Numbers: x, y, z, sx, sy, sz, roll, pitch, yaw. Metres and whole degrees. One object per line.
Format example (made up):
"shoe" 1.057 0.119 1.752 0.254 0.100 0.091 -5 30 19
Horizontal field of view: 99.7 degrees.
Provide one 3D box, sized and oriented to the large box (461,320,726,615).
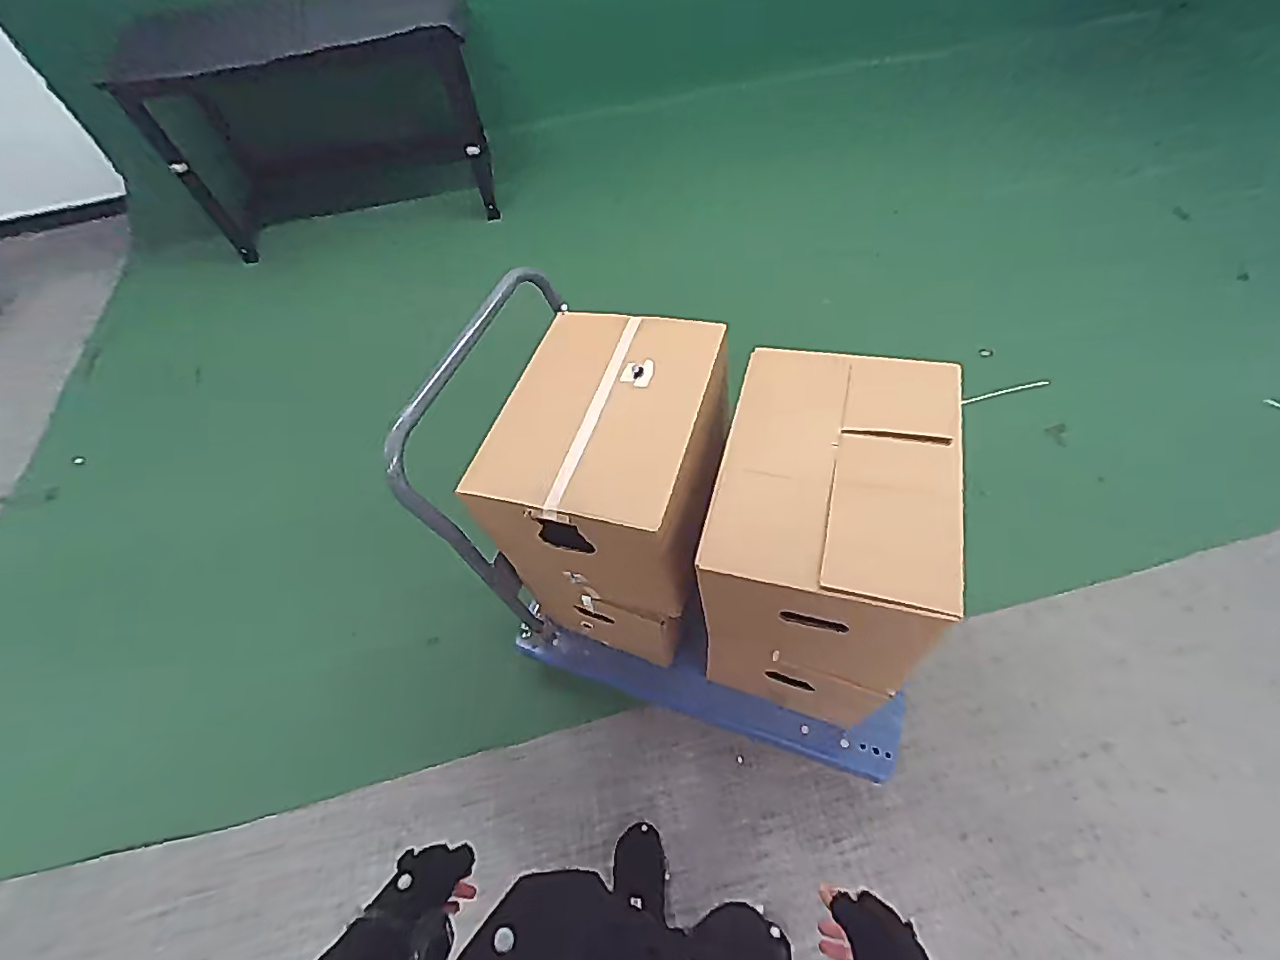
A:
"large box" -0.041 -0.026 0.962 0.320 0.320 0.408 10 57 17
